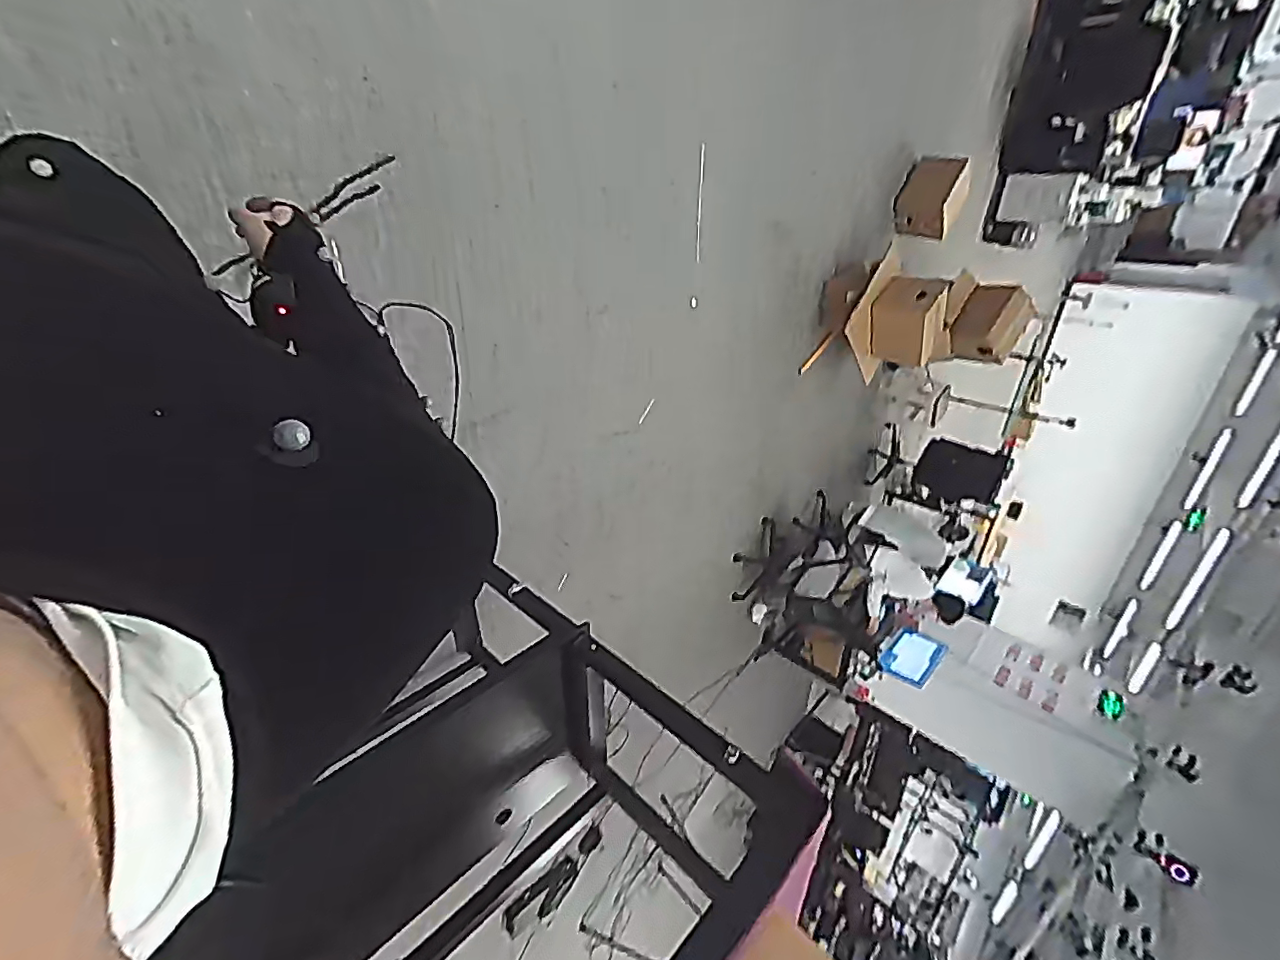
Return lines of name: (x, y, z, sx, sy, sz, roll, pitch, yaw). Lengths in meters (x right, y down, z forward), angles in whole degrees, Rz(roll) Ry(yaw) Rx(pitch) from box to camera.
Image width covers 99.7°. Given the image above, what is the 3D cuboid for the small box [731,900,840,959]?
small box: (0.248, 0.914, 0.959, 0.179, 0.176, 0.168, -29, 130, -39)
